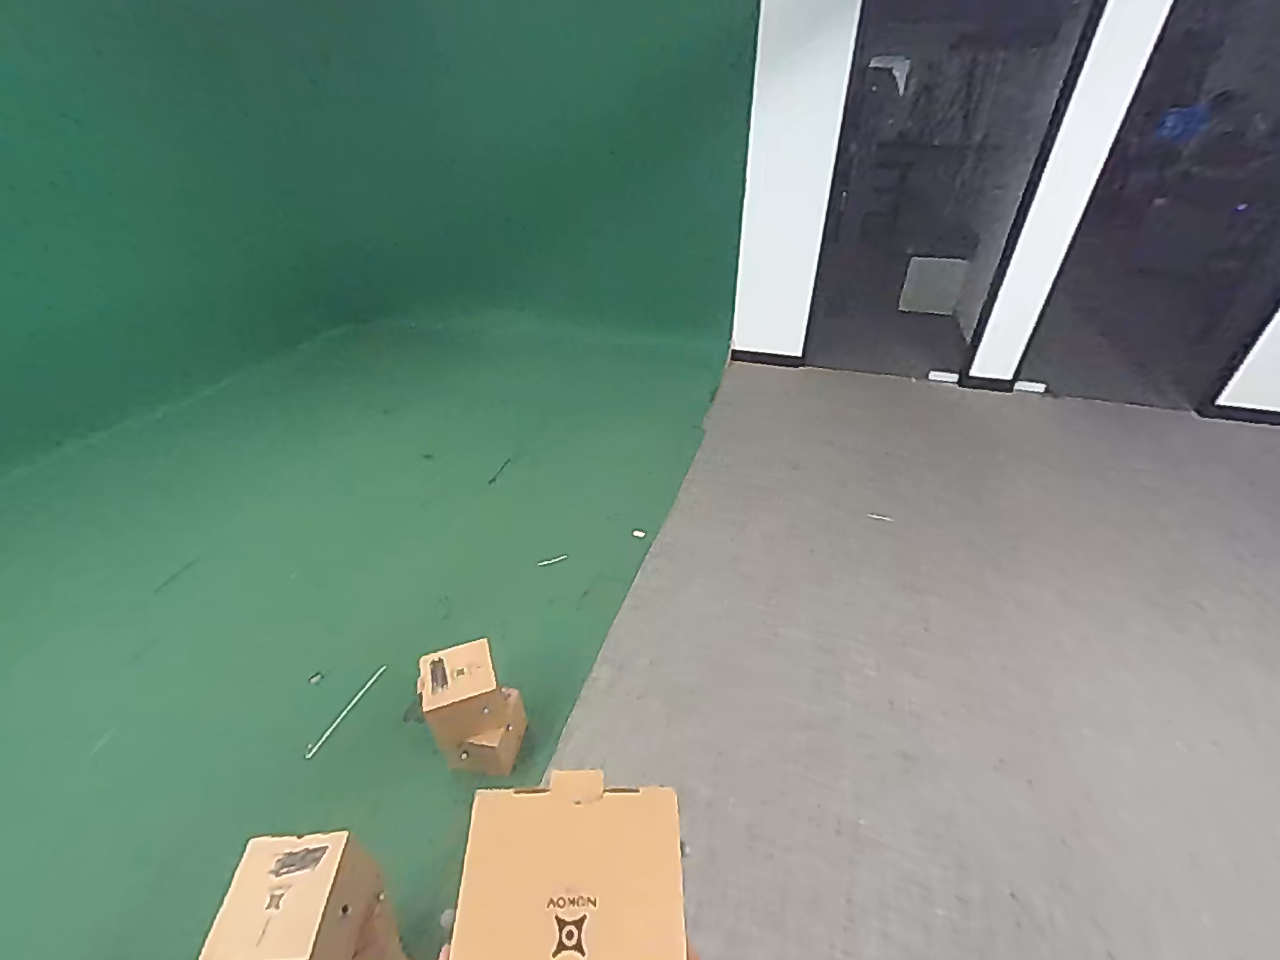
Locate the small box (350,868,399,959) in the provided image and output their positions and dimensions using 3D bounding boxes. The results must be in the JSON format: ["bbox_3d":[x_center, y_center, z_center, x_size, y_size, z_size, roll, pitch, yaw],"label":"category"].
[{"bbox_3d":[-0.567,0.845,1.002,0.168,0.176,0.179,-21,40,-28],"label":"small box"}]

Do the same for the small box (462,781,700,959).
[{"bbox_3d":[-0.044,0.364,0.442,0.168,0.176,0.179,2,47,-4],"label":"small box"}]

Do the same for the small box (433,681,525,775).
[{"bbox_3d":[-0.436,0.686,1.490,0.179,0.176,0.168,5,36,9],"label":"small box"}]

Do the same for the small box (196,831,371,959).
[{"bbox_3d":[-0.571,0.717,0.898,0.168,0.176,0.179,-2,37,-4],"label":"small box"}]
